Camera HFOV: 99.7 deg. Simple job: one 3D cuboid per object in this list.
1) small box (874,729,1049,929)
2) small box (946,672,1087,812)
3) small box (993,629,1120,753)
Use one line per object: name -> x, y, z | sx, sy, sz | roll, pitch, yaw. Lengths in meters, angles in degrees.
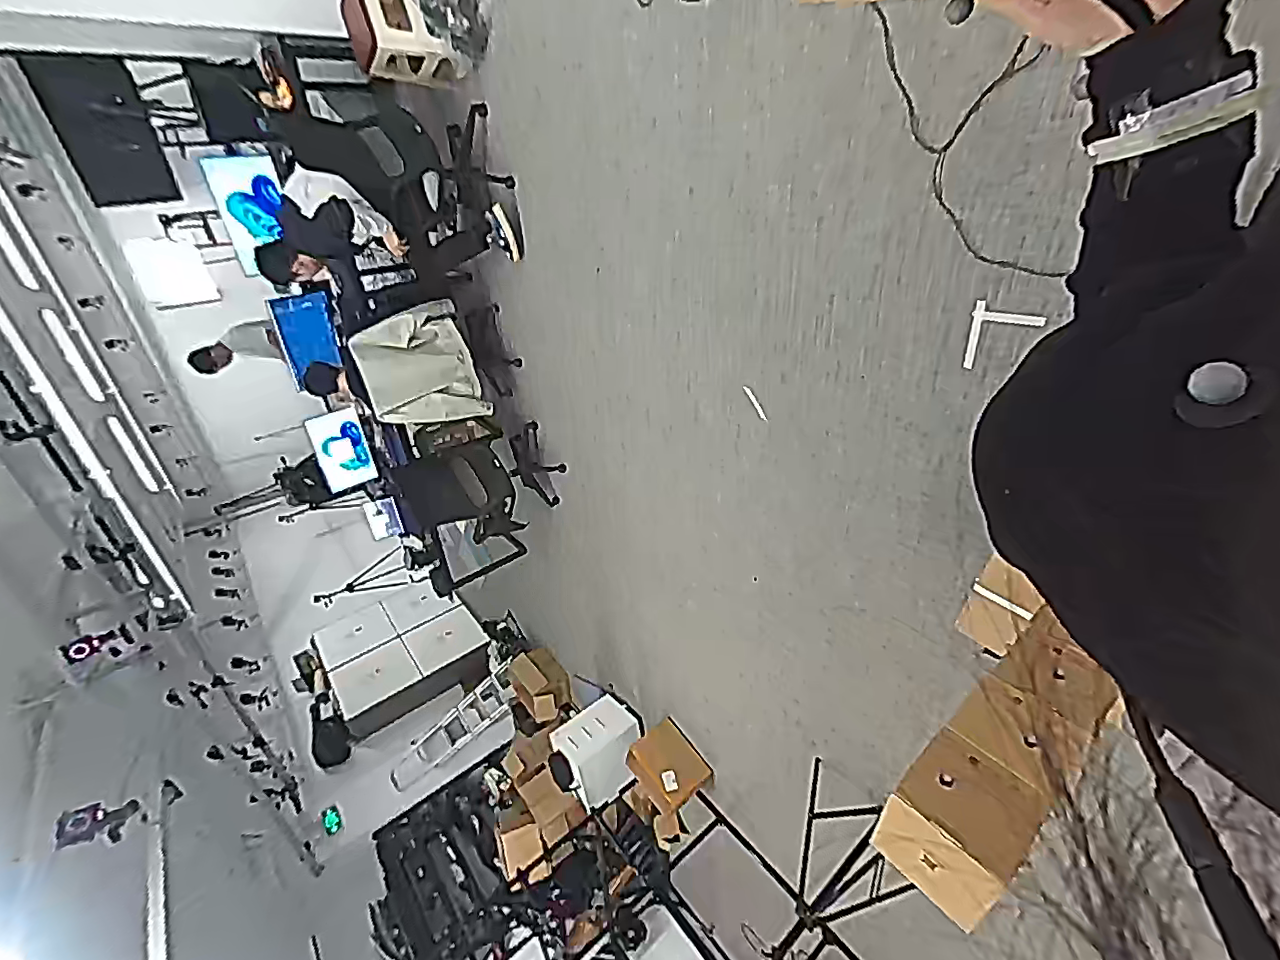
small box -> 0.505, 0.538, 0.854 | 0.168, 0.176, 0.179 | 33, 139, 42
small box -> 0.629, 0.473, 0.936 | 0.168, 0.176, 0.179 | 33, 137, 41
small box -> 0.757, 0.417, 1.020 | 0.168, 0.176, 0.179 | 35, 138, 40
